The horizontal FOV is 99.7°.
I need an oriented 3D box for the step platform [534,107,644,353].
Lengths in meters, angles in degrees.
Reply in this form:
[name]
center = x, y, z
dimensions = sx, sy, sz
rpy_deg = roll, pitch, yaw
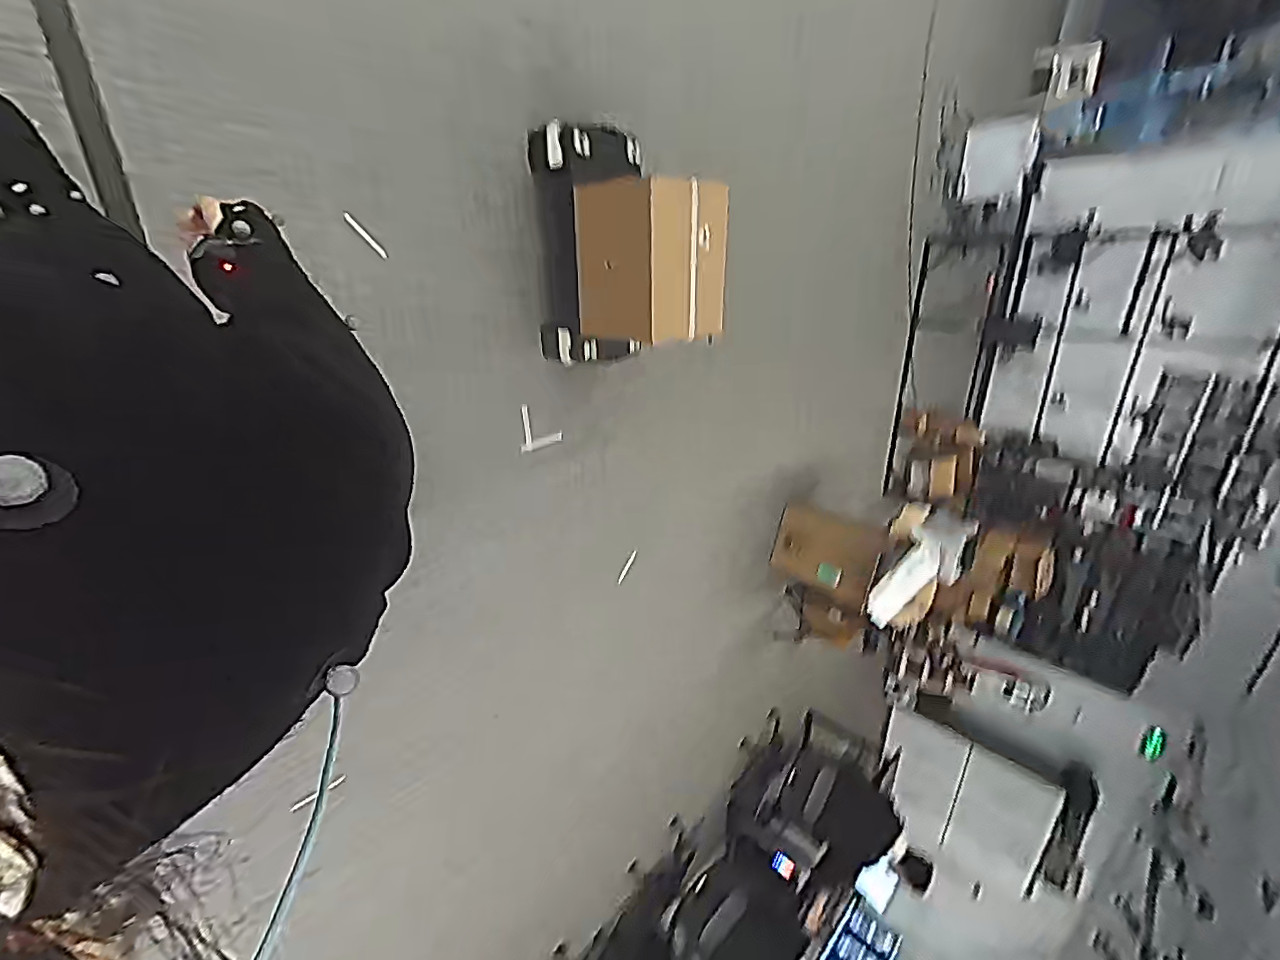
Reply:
[step platform]
center = -0.155, -0.744, 1.686
dimensions = 0.286, 0.204, 0.684
rpy_deg = -16, 115, -43

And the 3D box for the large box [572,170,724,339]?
[large box]
center = 0.028, -0.639, 1.561
dimensions = 0.320, 0.320, 0.408
rpy_deg = -23, 120, -41
